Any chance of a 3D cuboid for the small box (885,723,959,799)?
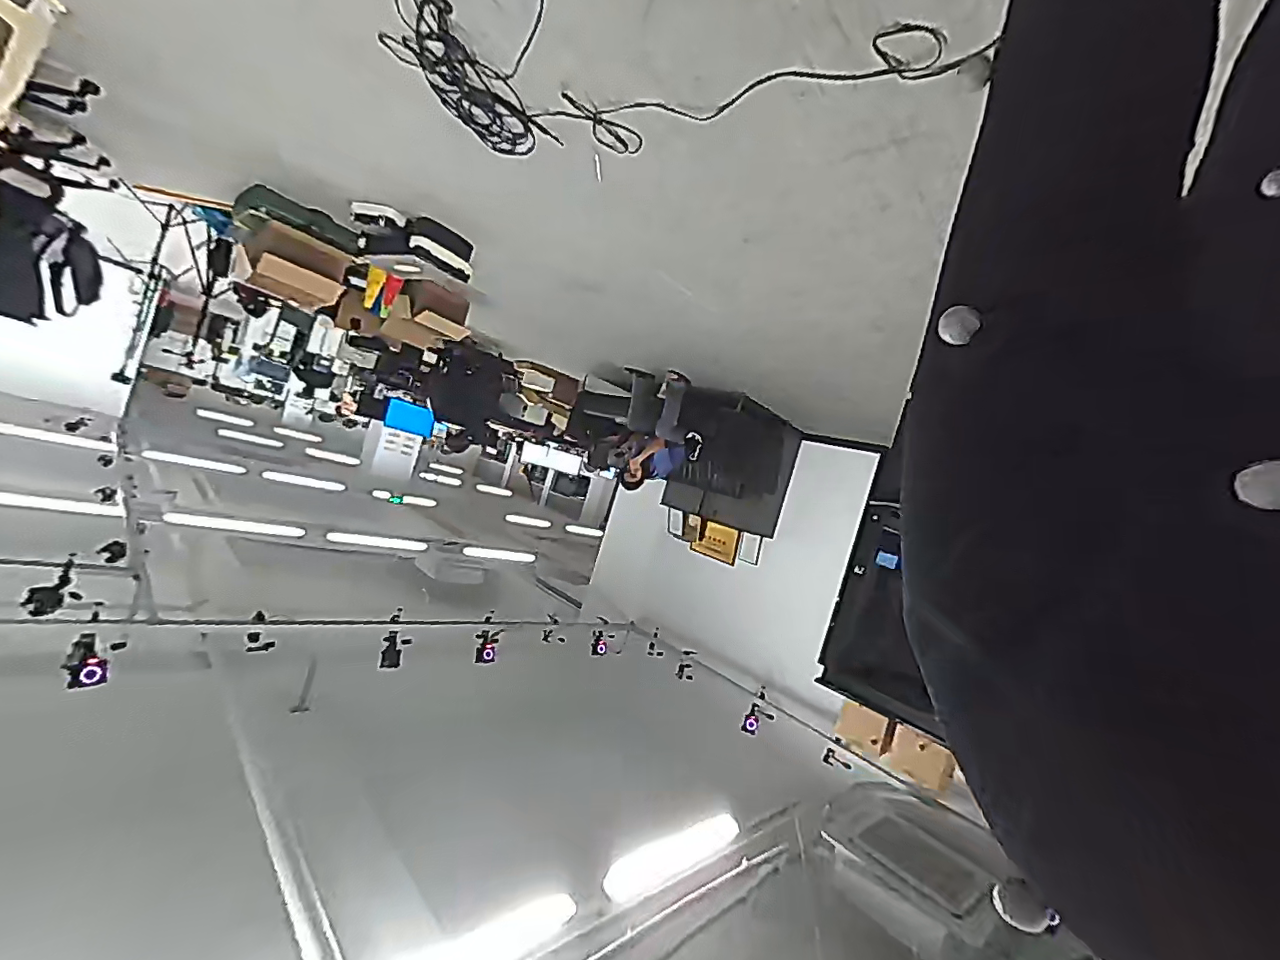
[{"bbox_3d":[0.995,0.976,1.897,0.168,0.176,0.179,17,179,45],"label":"small box"}]
